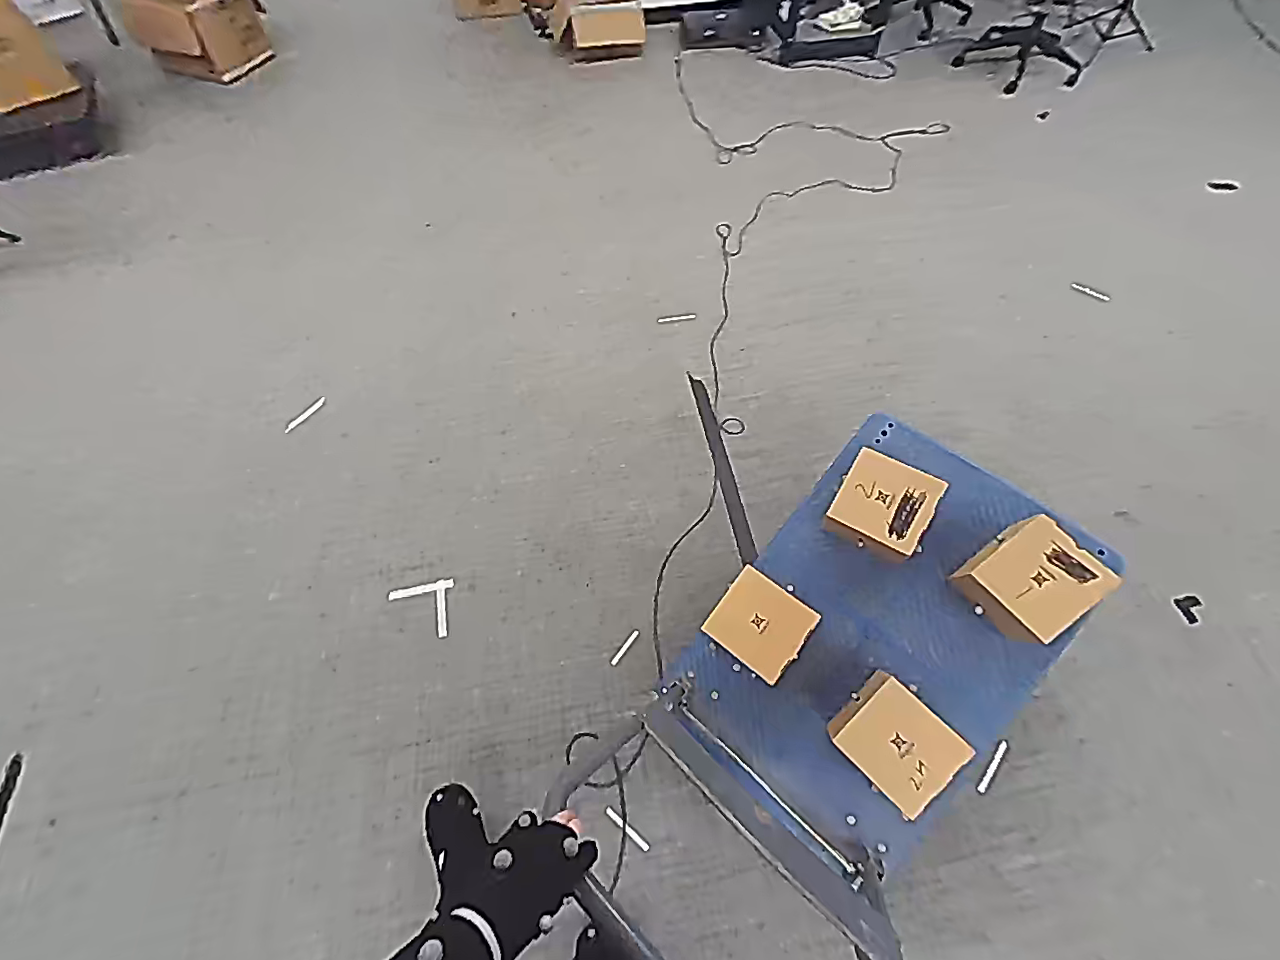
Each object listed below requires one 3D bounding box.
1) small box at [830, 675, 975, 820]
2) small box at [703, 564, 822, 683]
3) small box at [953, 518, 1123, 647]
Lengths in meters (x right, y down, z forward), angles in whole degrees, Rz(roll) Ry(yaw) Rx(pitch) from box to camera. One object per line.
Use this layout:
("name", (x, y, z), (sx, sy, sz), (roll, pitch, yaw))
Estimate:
("small box", (0.484, 0.494, 1.032), (0.168, 0.176, 0.179), (-46, 69, 0))
("small box", (0.258, 0.302, 1.147), (0.179, 0.176, 0.168), (36, 87, 19))
("small box", (0.748, 0.199, 1.042), (0.179, 0.176, 0.168), (-41, 69, 3))
